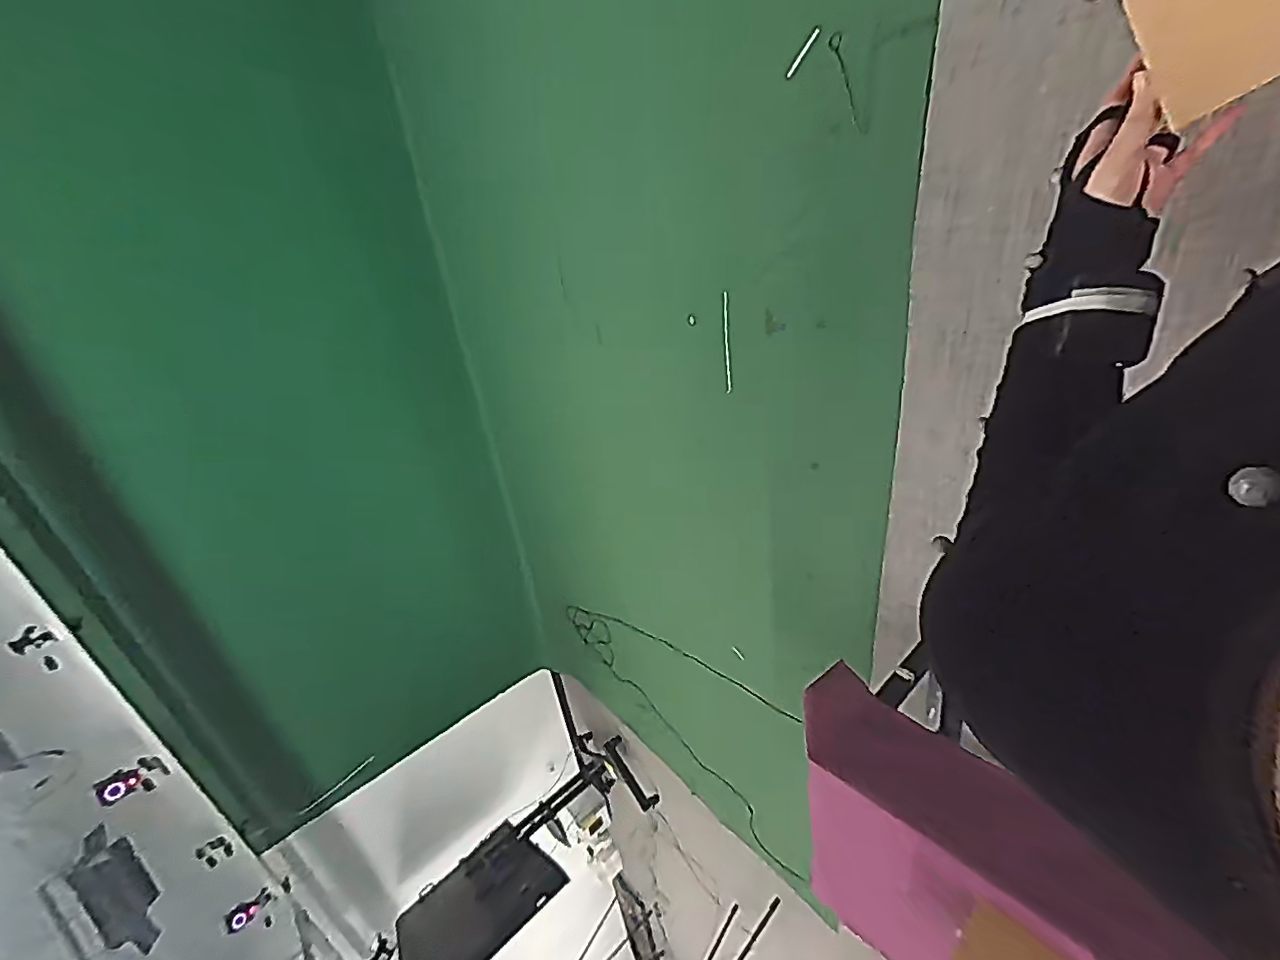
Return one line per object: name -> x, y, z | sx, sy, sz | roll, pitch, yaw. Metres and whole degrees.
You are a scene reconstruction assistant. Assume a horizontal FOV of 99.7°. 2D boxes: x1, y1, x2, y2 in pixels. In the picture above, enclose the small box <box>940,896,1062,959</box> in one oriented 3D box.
small box -> 0.683, 0.954, 1.022 | 0.179, 0.176, 0.168 | 23, 130, 46
